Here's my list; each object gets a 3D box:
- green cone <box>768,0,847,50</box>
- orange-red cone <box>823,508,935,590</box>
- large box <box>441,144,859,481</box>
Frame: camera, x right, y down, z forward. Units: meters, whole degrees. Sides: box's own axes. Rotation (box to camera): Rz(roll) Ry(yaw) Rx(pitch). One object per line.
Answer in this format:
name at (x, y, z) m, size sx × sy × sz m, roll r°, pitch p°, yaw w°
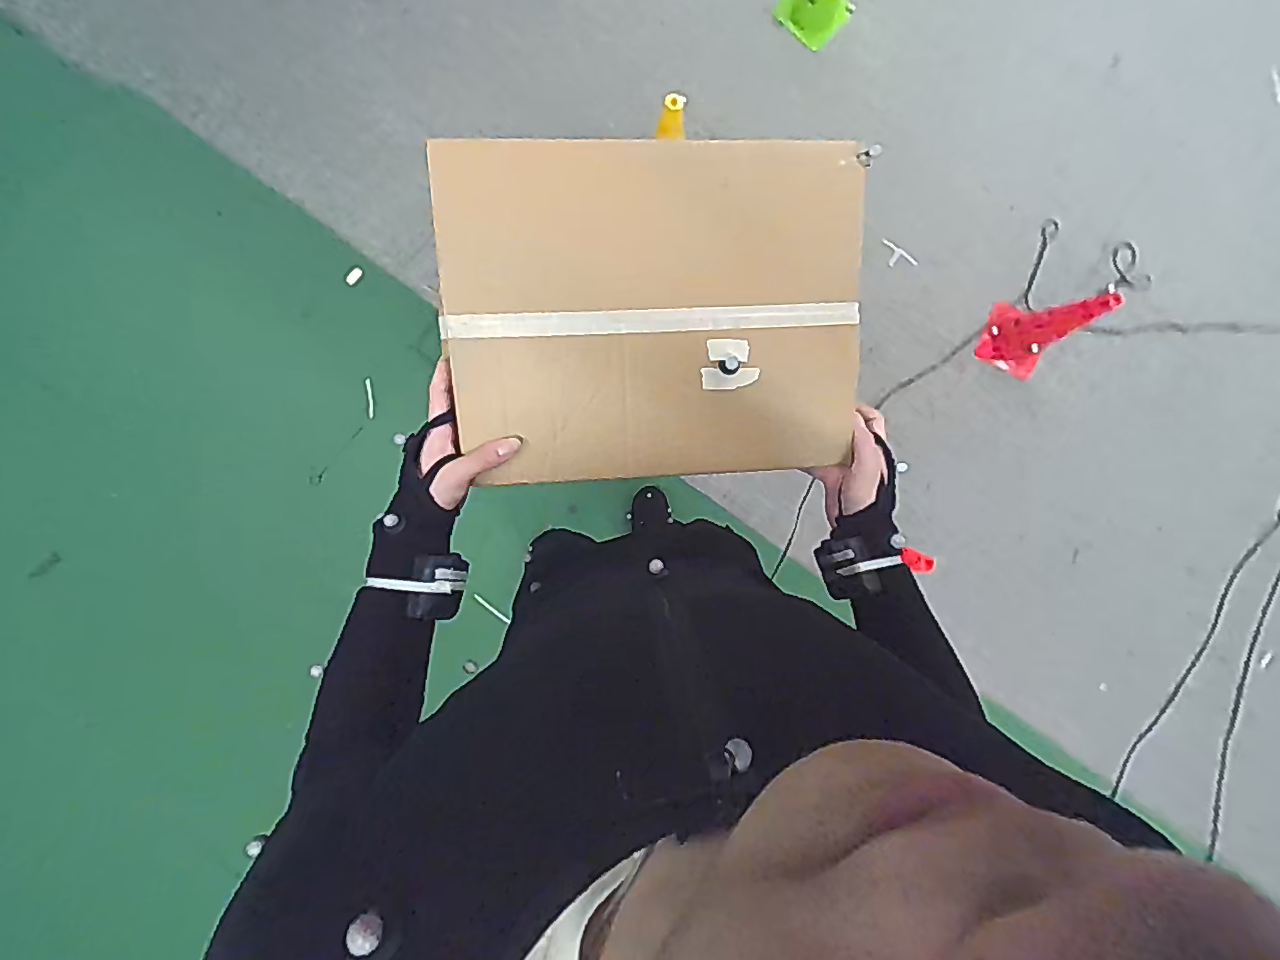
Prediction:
green cone at (0.539, -1.505, 1.554) m, size 0.200 × 0.368 × 0.202 m, roll 41°, pitch 88°, yaw 0°
orange-red cone at (0.697, 0.210, 1.494) m, size 0.199 × 0.360 × 0.198 m, roll 43°, pitch 88°, yaw -2°
large box at (0.004, -0.190, 0.679) m, size 0.408 × 0.320 × 0.320 m, roll -3°, pitch 103°, yaw -6°
